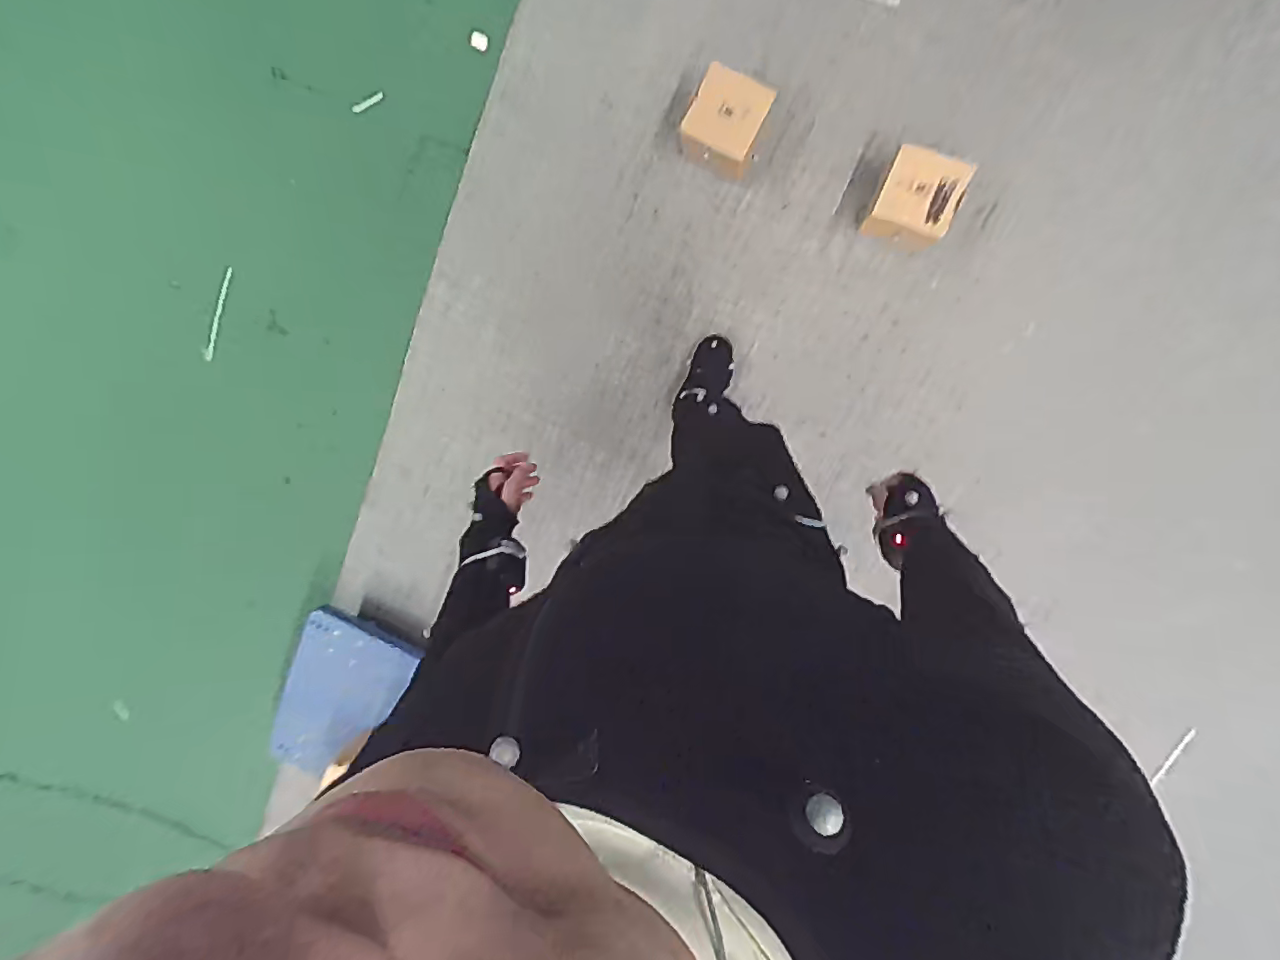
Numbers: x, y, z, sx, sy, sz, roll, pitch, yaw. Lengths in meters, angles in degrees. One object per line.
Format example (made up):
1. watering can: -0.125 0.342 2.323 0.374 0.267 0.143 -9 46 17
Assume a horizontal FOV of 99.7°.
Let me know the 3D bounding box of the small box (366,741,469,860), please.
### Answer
1. small box: -0.574 0.829 1.418 0.168 0.176 0.179 25 103 4

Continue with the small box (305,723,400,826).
1. small box: -0.863 0.885 1.638 0.168 0.176 0.179 28 103 2

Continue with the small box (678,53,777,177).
1. small box: 0.214 -0.893 1.343 0.179 0.176 0.168 31 103 2
